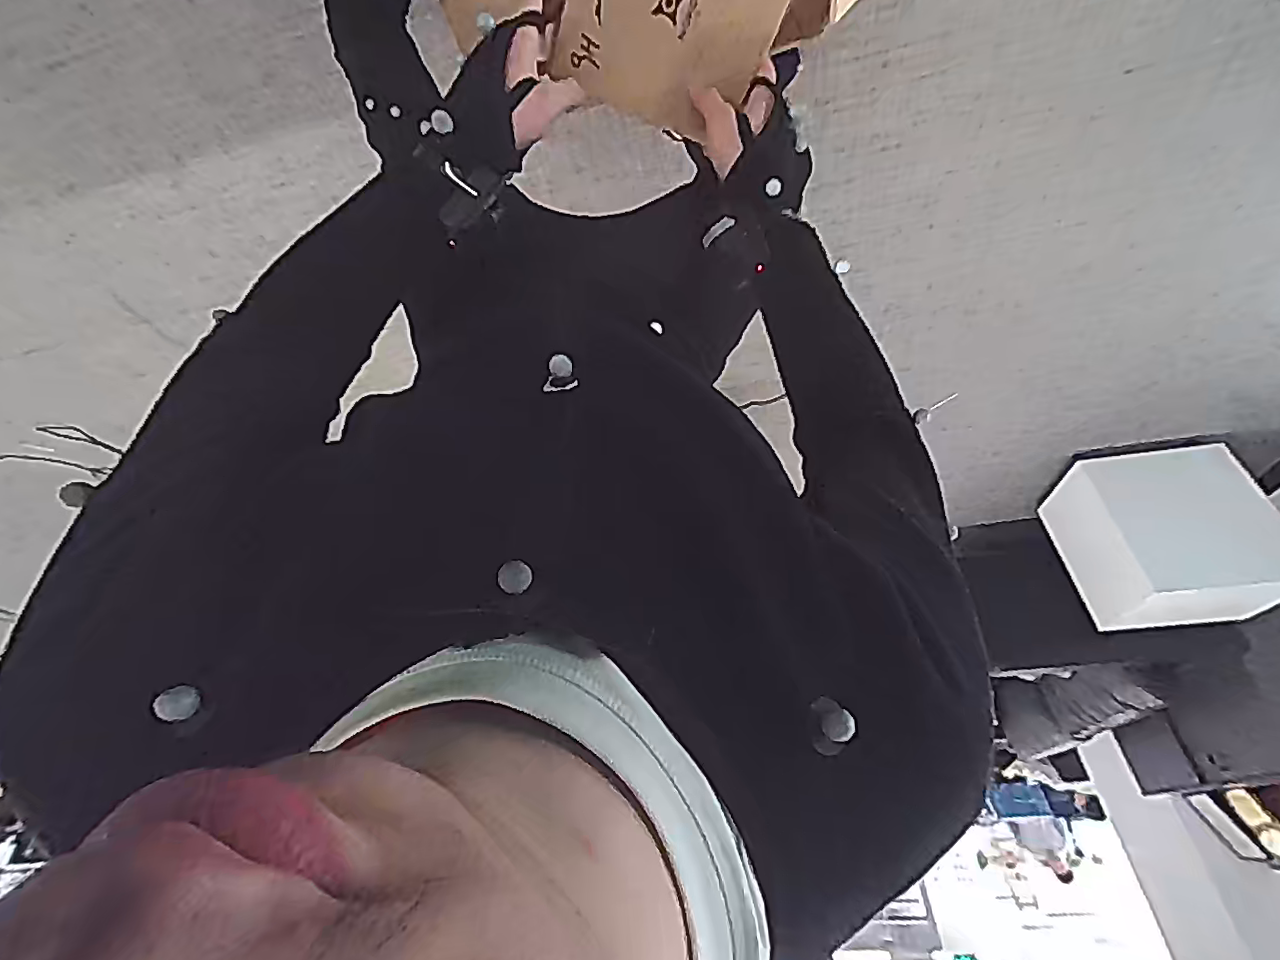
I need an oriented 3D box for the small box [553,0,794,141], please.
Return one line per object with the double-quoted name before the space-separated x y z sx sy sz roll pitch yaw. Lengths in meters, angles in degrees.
"small box" 0.027 -0.451 0.486 0.179 0.176 0.168 9 139 -21
